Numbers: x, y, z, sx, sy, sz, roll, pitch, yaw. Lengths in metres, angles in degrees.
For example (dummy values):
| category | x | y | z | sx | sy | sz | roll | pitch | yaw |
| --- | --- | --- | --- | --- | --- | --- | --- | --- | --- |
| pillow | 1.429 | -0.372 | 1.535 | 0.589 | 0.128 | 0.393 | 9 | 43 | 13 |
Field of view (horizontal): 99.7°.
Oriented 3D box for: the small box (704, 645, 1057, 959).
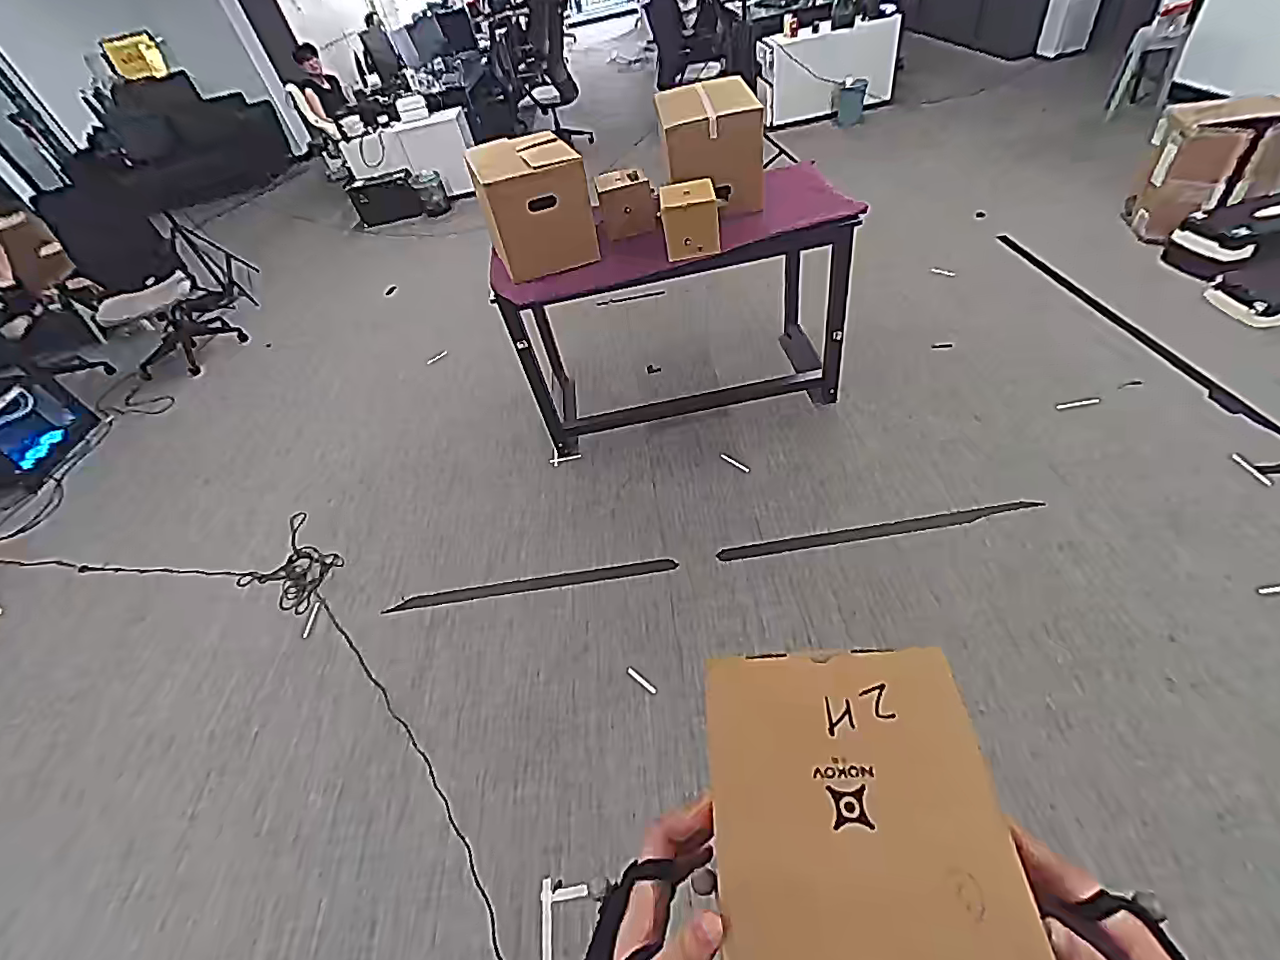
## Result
| category | x | y | z | sx | sy | sz | roll | pitch | yaw |
| --- | --- | --- | --- | --- | --- | --- | --- | --- | --- |
| small box | 0.136 | 0.235 | 0.379 | 0.168 | 0.176 | 0.179 | -5 | 49 | 7 |
